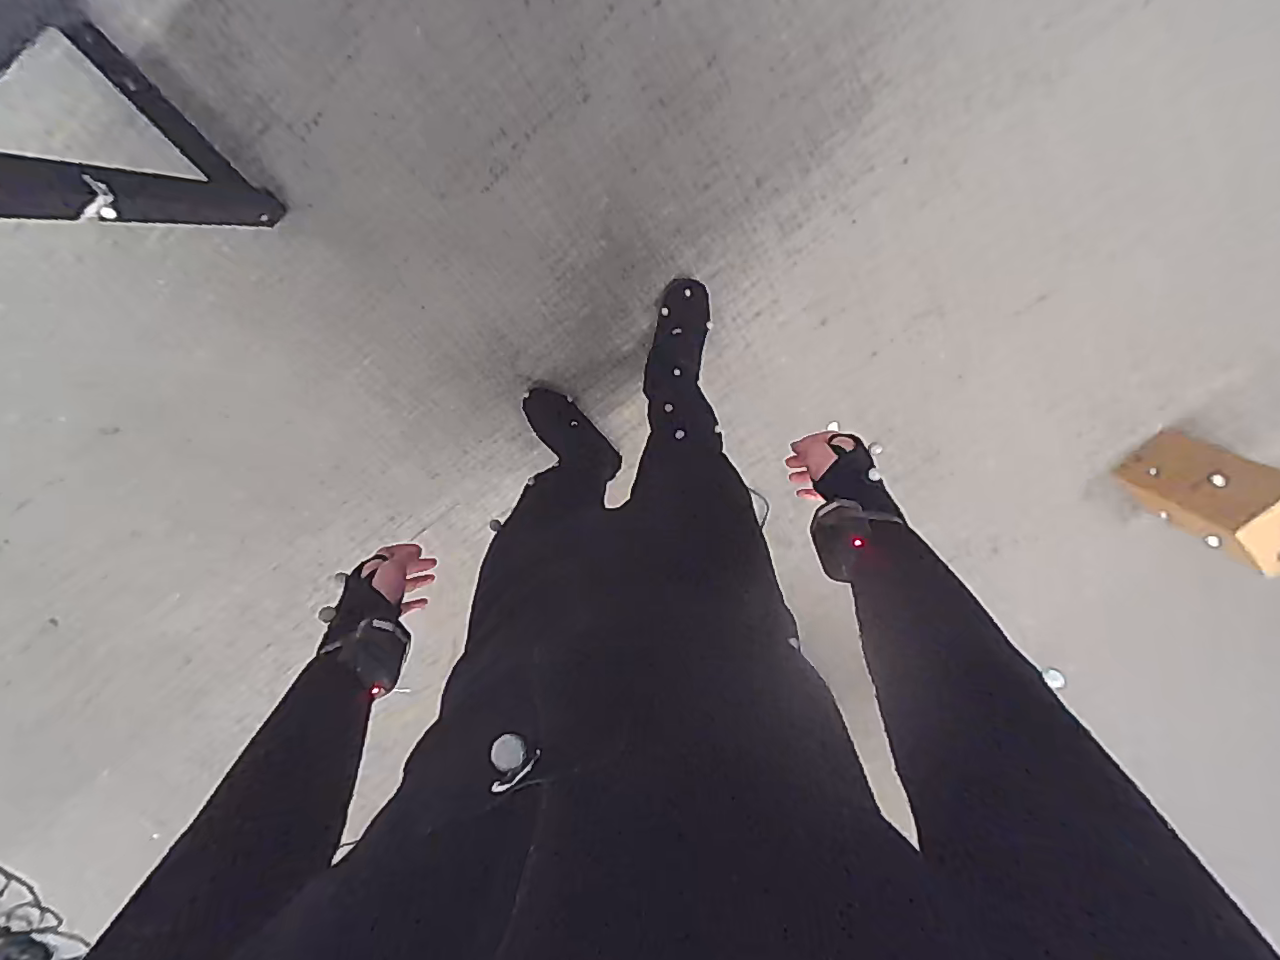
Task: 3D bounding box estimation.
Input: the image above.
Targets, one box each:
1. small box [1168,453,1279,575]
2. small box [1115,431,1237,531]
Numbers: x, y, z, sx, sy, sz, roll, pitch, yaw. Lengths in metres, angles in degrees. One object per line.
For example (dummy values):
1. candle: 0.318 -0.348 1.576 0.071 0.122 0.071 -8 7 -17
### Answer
1. small box: 1.353 0.068 1.198 0.179 0.176 0.168 38 108 -16
2. small box: 1.354 -0.002 1.347 0.179 0.176 0.168 36 109 -18
